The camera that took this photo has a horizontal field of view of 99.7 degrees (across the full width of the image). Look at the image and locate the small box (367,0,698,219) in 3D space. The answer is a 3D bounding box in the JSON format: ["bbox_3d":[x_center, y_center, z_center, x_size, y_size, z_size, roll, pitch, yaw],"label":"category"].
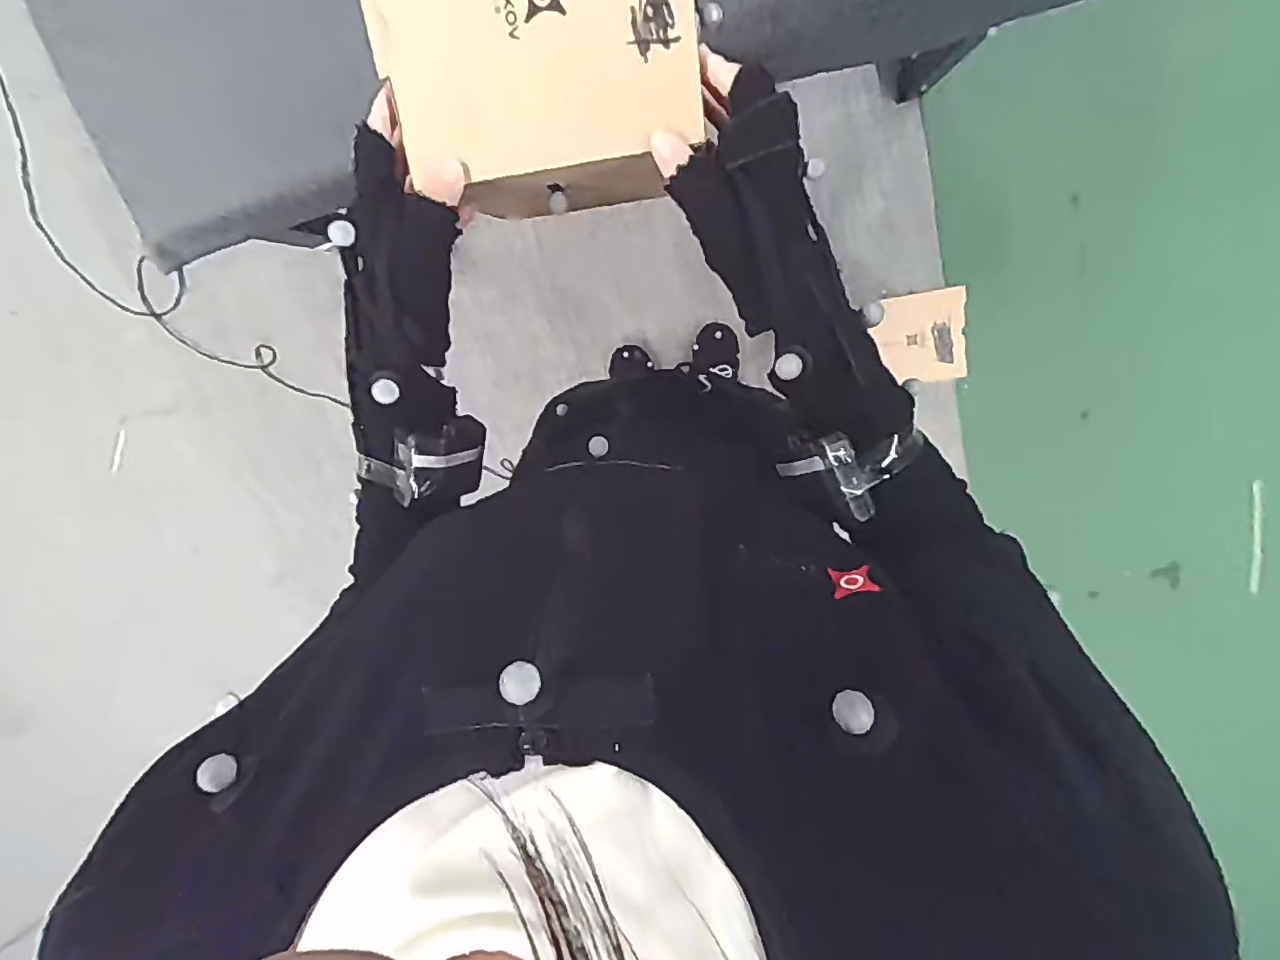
[{"bbox_3d":[-0.054,-0.281,0.360,0.179,0.176,0.168,-4,109,8],"label":"small box"}]

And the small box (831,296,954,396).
[{"bbox_3d":[0.498,-0.269,1.081,0.179,0.176,0.168,-7,105,6],"label":"small box"}]

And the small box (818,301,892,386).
[{"bbox_3d":[0.519,-0.315,1.238,0.179,0.176,0.168,-7,105,7],"label":"small box"}]
